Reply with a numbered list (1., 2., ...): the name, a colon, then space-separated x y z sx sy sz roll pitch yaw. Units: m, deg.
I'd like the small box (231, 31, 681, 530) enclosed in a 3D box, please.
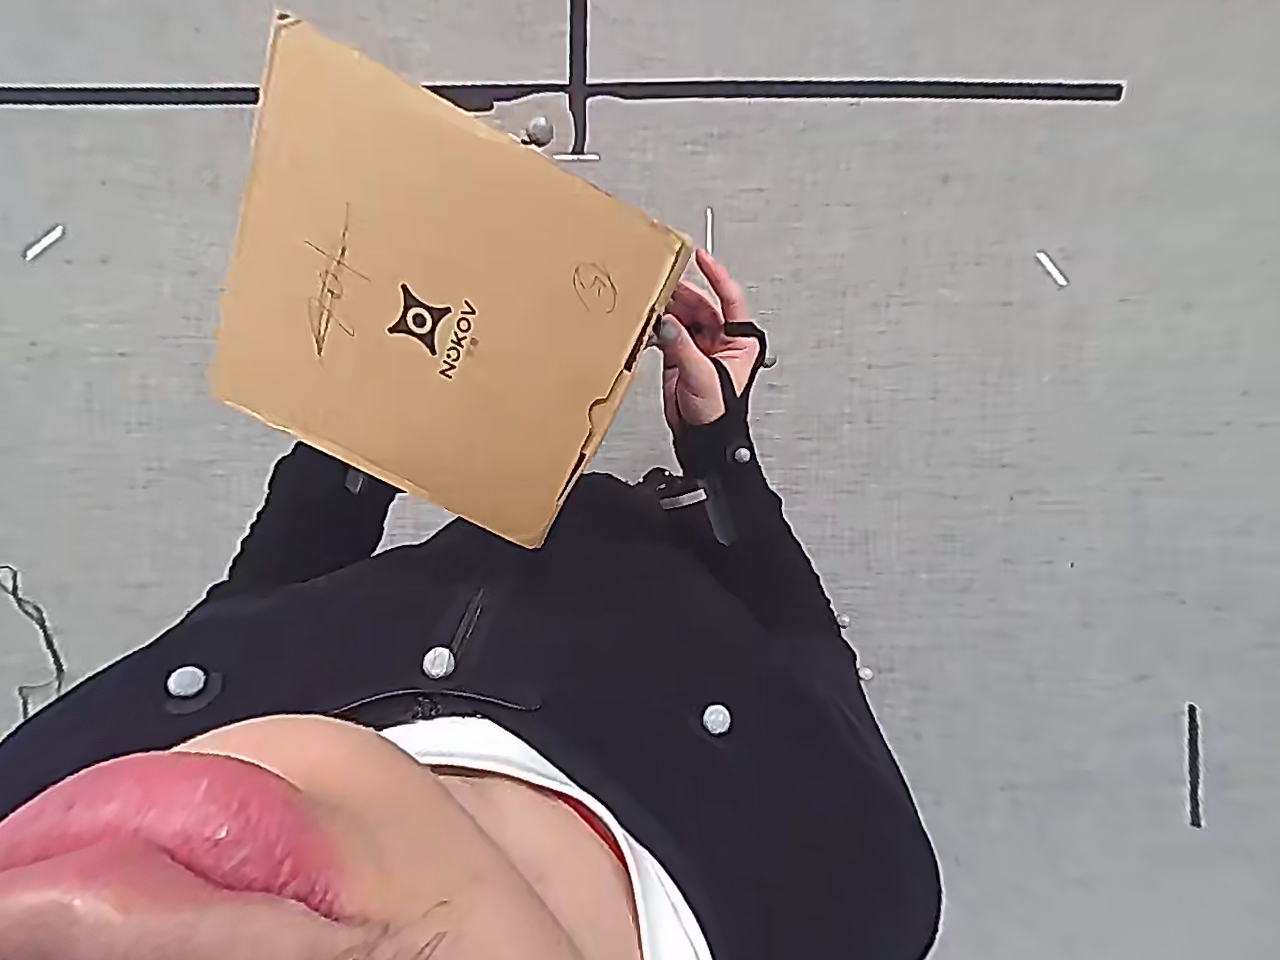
1. small box: -0.086 -0.105 0.323 0.179 0.176 0.168 27 112 -5
